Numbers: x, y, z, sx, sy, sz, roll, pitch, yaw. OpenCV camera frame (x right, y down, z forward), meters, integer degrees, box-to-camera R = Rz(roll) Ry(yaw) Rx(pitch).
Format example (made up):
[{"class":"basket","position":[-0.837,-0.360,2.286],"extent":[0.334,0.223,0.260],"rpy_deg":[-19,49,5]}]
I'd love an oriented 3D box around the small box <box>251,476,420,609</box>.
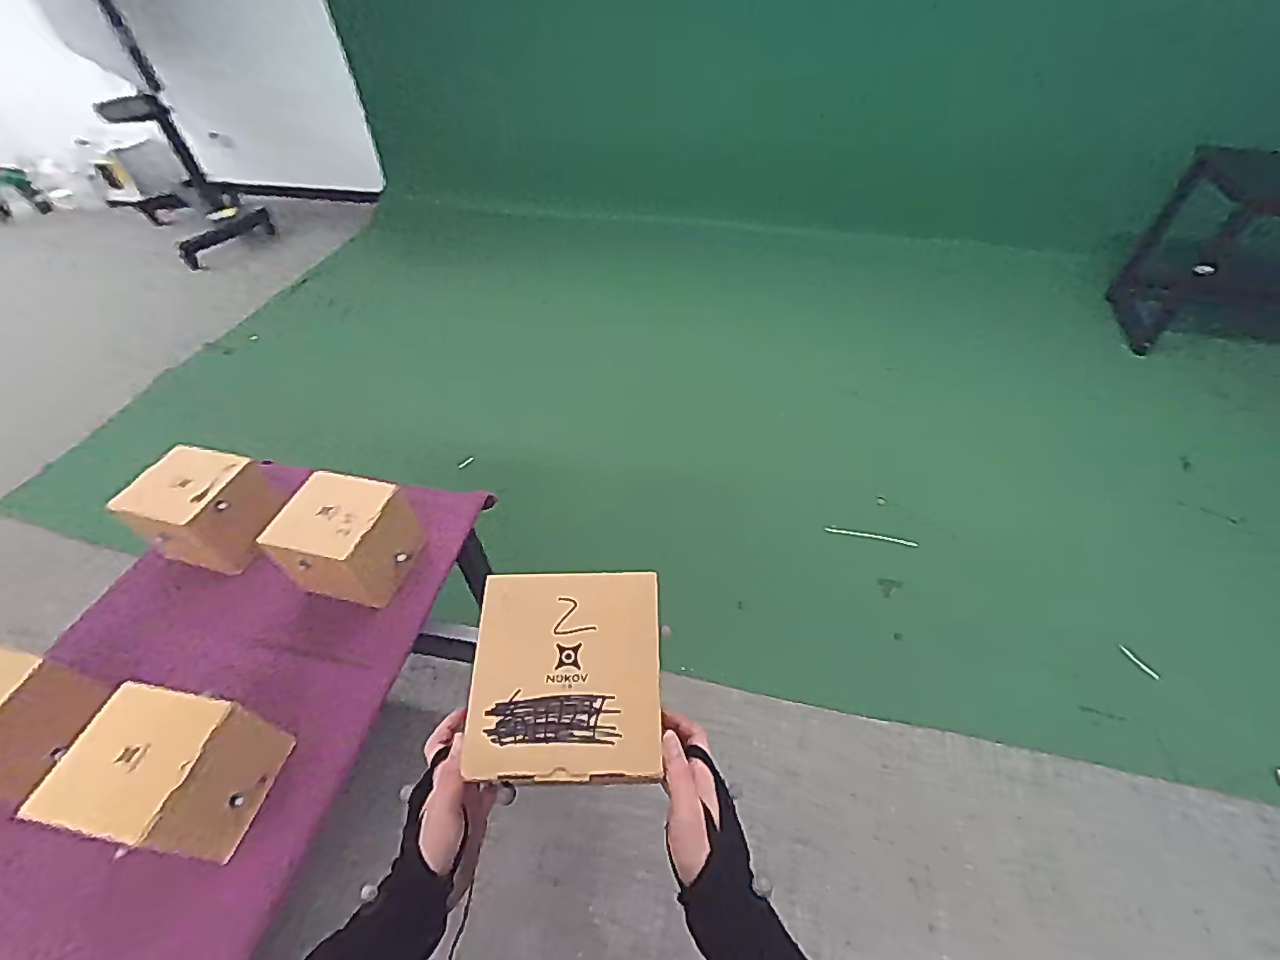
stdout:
[{"class":"small box","position":[-0.542,0.117,0.990],"extent":[0.179,0.176,0.168],"rpy_deg":[9,50,11]}]

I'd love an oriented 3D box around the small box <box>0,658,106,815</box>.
[{"class":"small box","position":[-0.955,0.366,0.786],"extent":[0.179,0.176,0.168],"rpy_deg":[8,49,8]}]

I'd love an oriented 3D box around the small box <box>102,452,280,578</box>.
[{"class":"small box","position":[-0.850,0.070,1.050],"extent":[0.179,0.176,0.168],"rpy_deg":[10,50,11]}]

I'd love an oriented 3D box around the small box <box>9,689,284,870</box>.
[{"class":"small box","position":[-0.644,0.409,0.734],"extent":[0.179,0.176,0.168],"rpy_deg":[6,48,8]}]
